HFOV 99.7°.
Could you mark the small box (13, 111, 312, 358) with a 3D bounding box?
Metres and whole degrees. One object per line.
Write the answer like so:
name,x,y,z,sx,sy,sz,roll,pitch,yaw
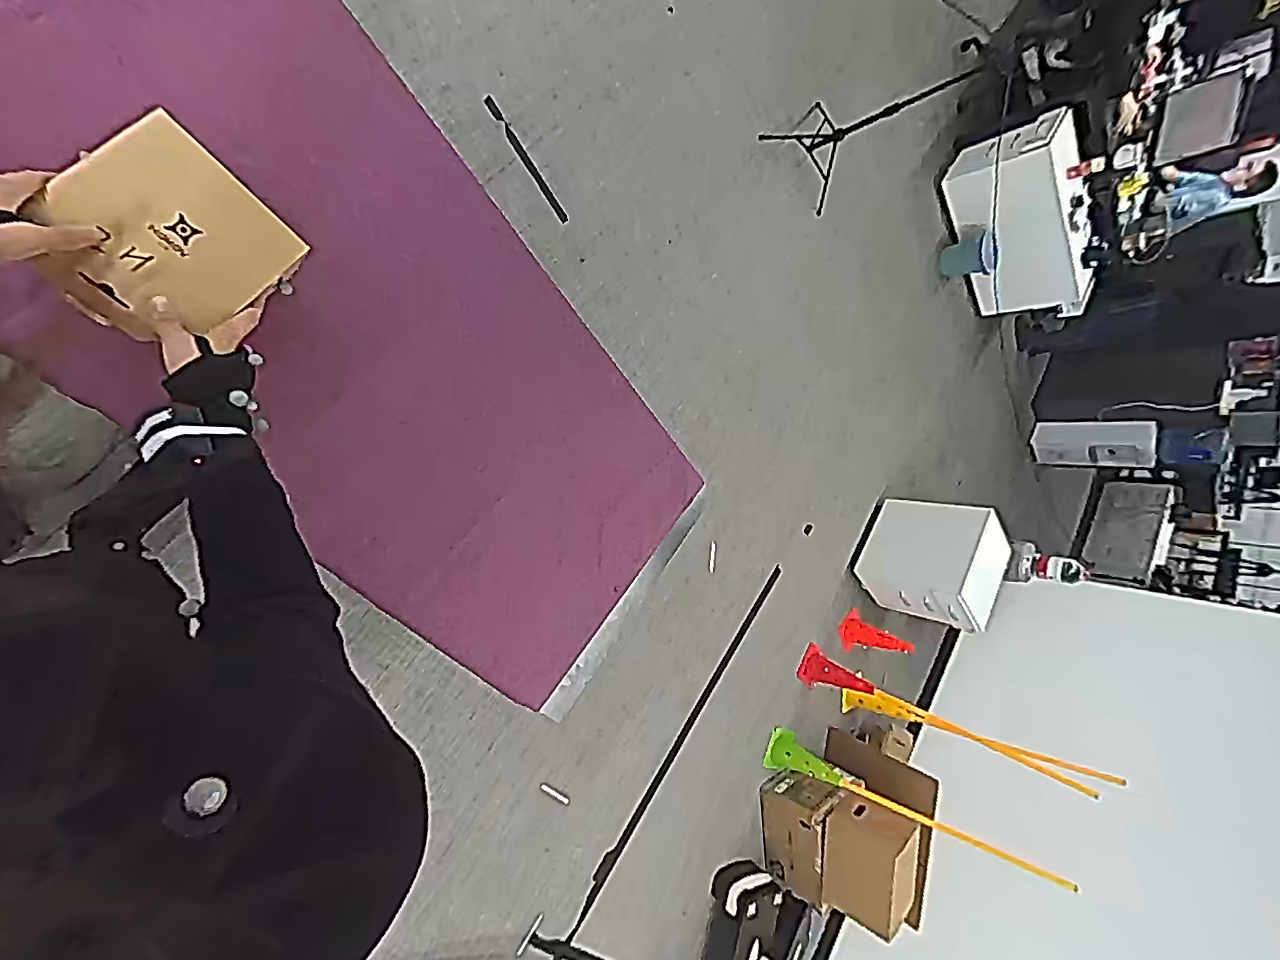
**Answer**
small box,-0.518,-0.258,0.609,0.168,0.176,0.179,47,66,-33
